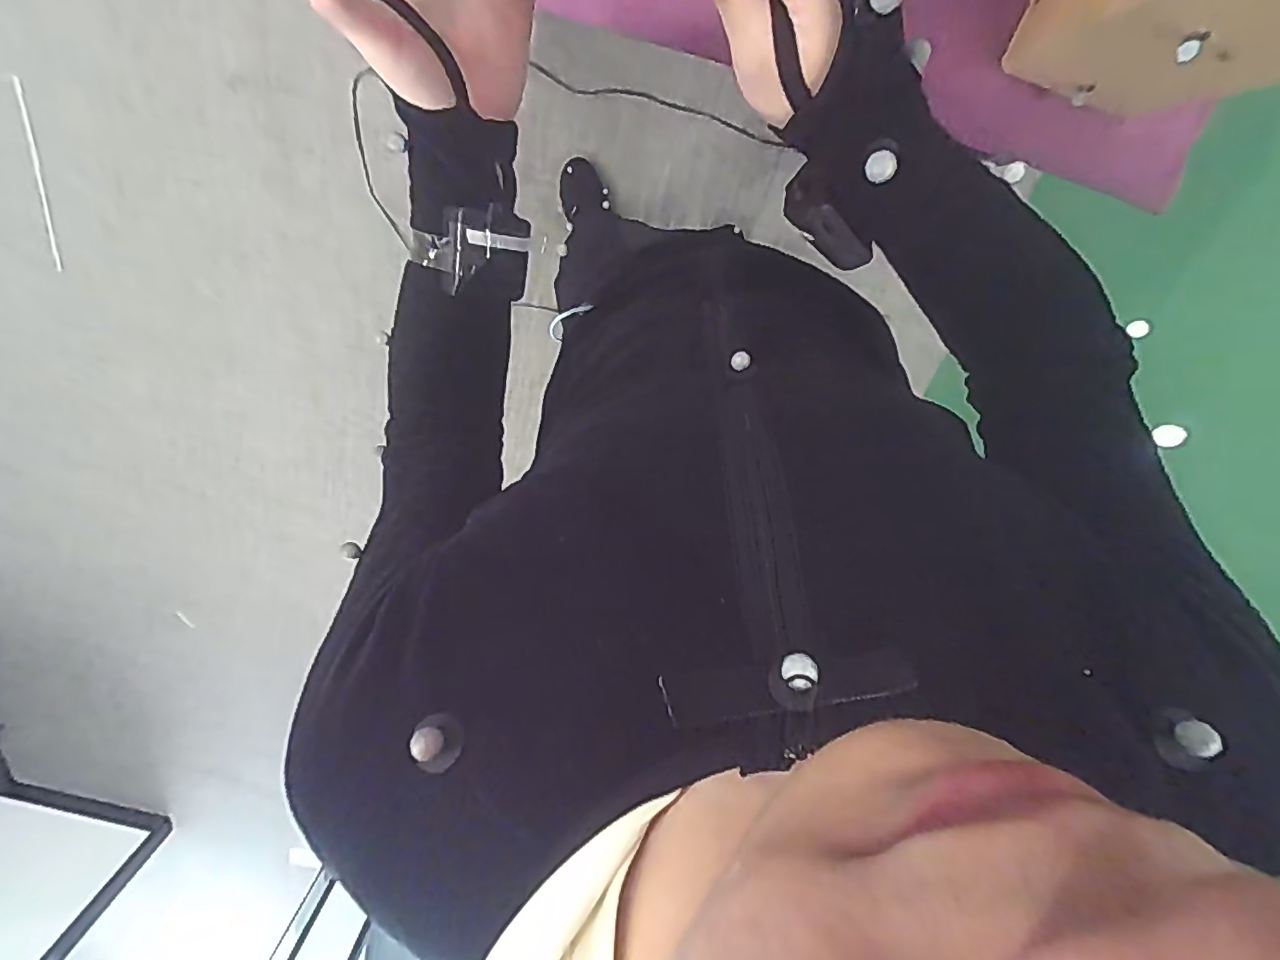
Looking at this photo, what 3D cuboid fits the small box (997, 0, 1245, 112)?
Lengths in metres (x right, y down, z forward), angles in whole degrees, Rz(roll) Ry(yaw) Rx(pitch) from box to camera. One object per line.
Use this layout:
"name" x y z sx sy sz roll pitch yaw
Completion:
"small box" 0.513 -0.493 0.535 0.179 0.176 0.168 19 115 -3
